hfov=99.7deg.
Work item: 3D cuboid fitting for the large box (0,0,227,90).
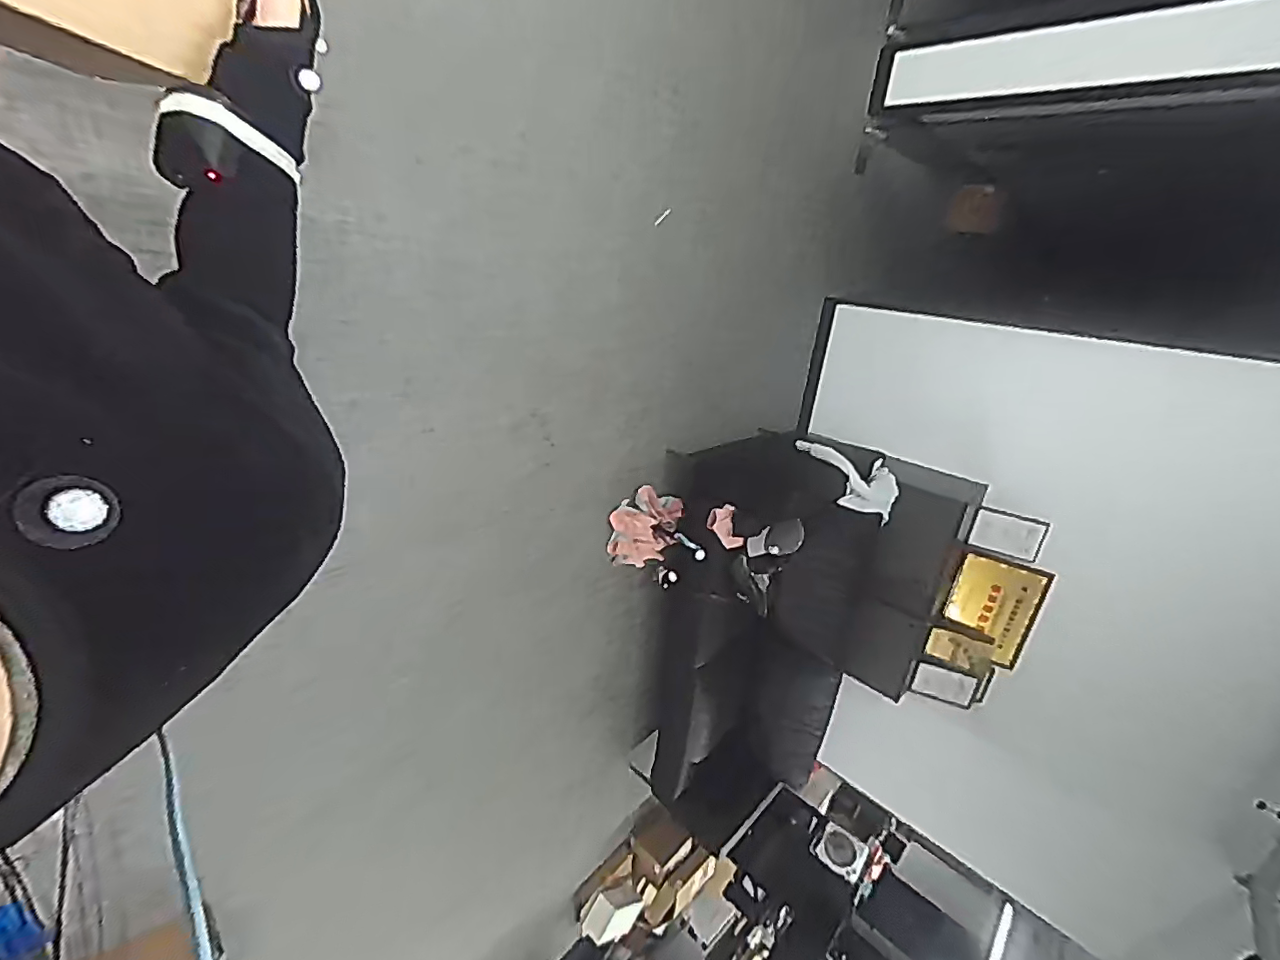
[{"bbox_3d":[-0.536,-0.501,0.314,0.408,0.320,0.320,-13,123,-58],"label":"large box"}]
